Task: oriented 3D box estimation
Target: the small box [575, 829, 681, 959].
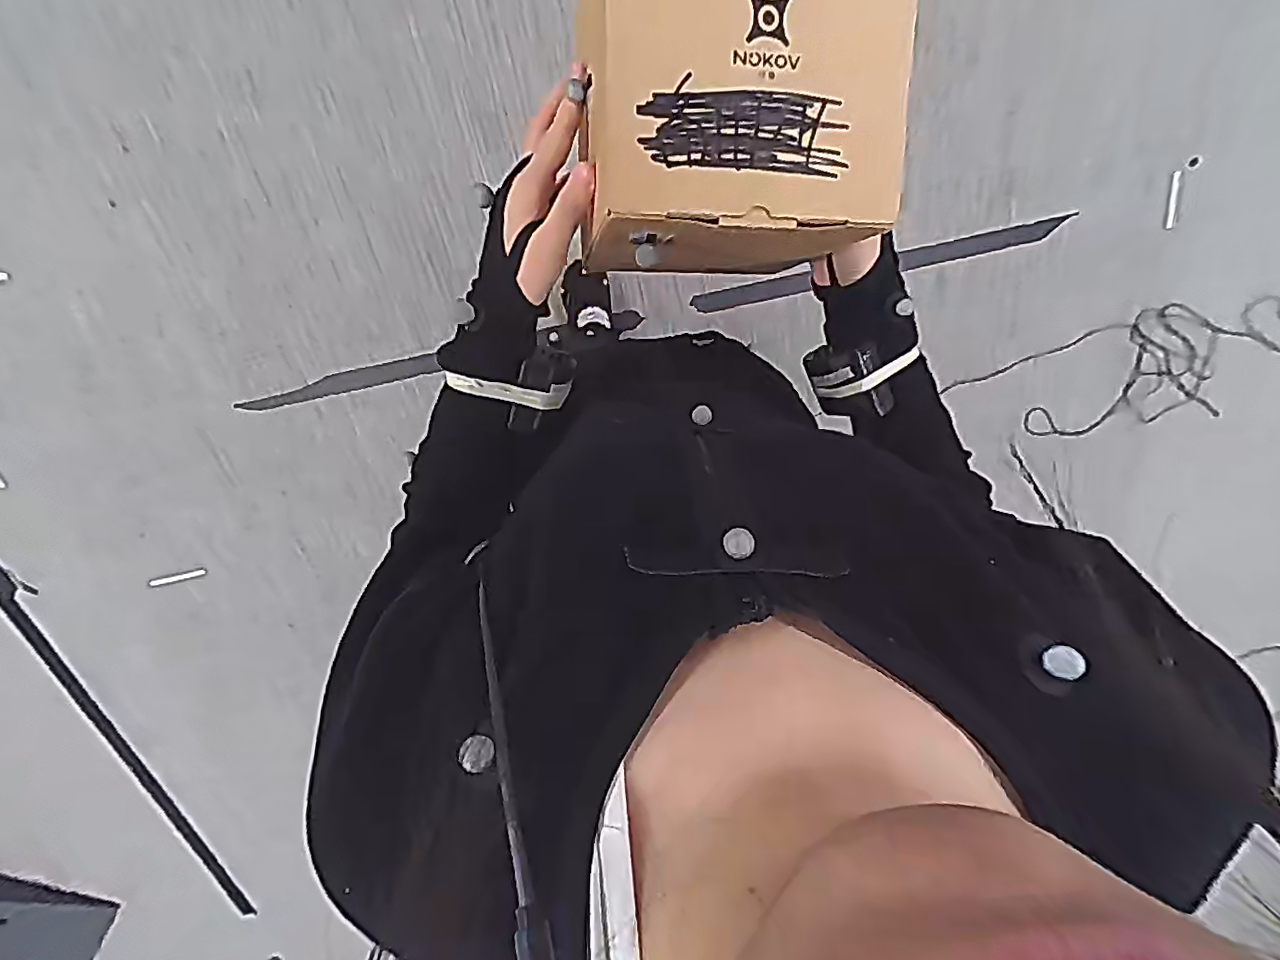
[{"bbox_3d":[-0.021,0.765,0.957,0.168,0.176,0.179,-9,111,-4],"label":"small box"}]
